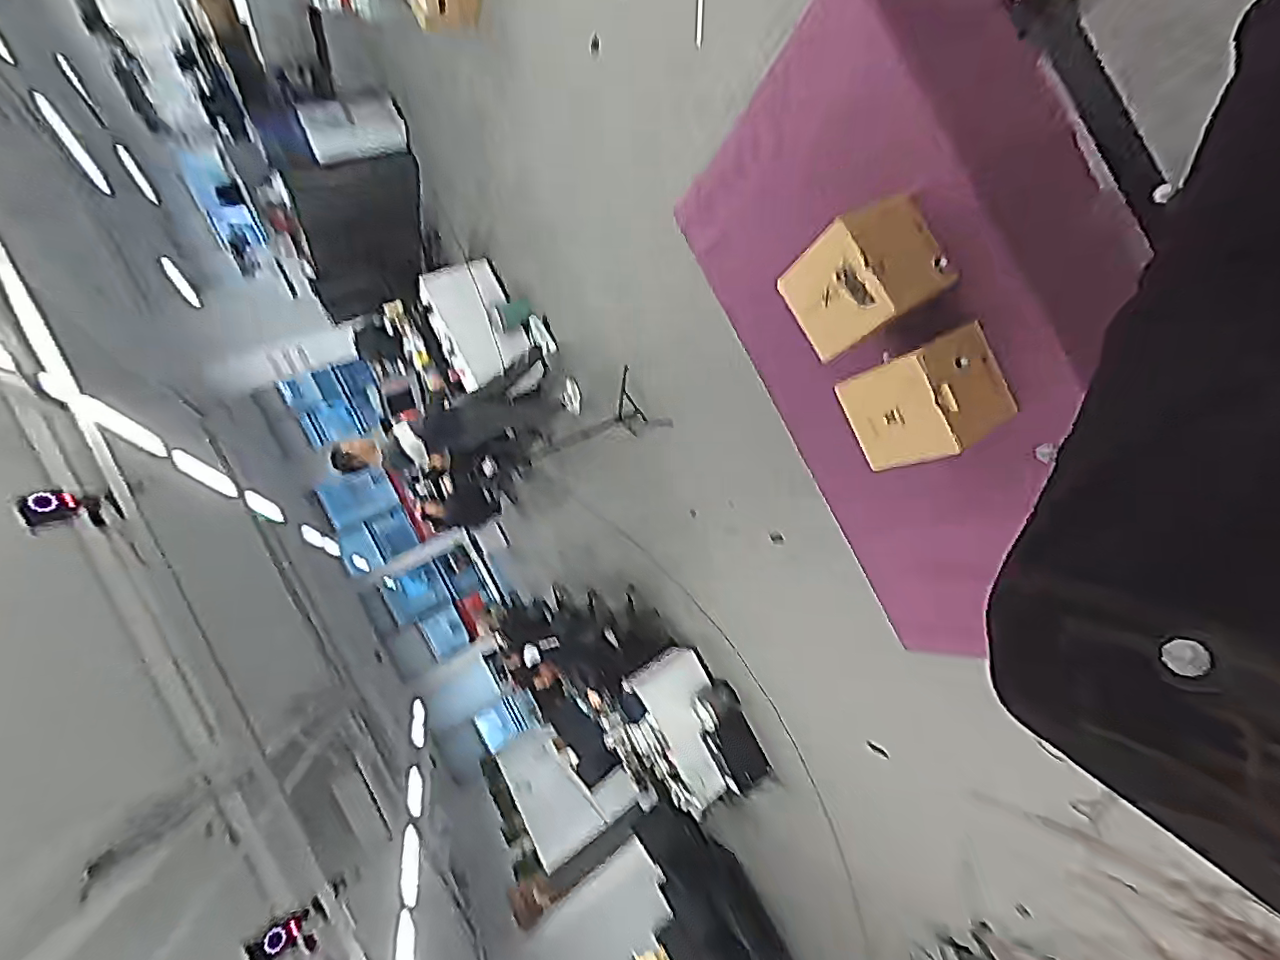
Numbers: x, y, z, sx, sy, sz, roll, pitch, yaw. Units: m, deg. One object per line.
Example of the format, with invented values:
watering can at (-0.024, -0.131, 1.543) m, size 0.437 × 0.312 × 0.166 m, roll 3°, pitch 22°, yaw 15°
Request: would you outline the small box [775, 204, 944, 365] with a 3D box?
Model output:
small box at (0.371, -0.328, 0.910) m, size 0.168 × 0.176 × 0.179 m, roll 60°, pitch 157°, yaw 4°
